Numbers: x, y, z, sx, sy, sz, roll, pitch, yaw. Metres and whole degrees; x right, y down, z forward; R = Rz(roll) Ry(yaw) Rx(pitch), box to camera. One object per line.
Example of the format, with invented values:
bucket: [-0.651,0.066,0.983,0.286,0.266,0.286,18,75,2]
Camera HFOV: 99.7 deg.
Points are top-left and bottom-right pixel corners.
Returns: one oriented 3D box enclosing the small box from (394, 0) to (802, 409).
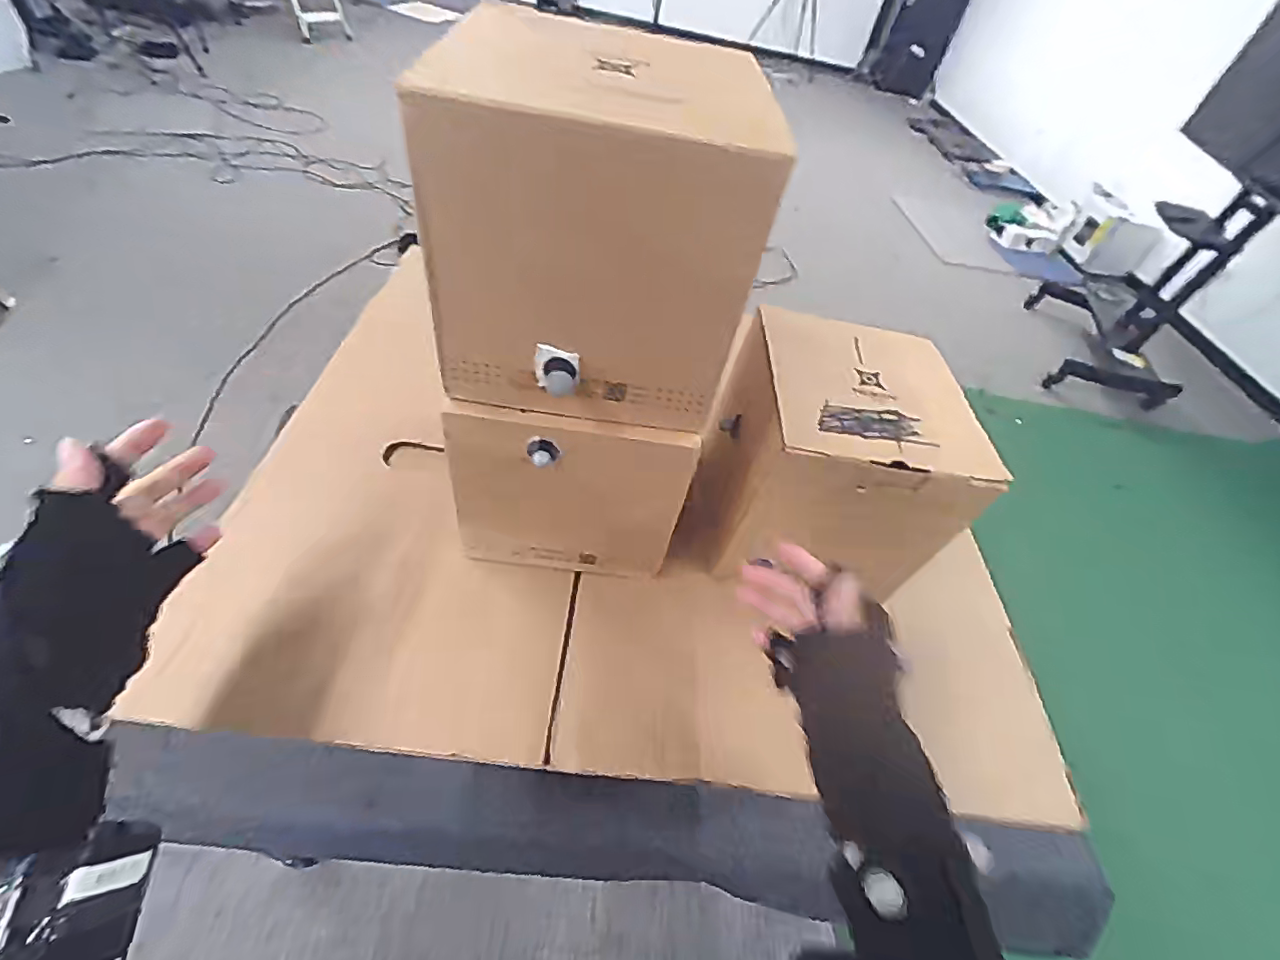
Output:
small box: [-0.025,-0.169,0.325,0.168,0.176,0.179,6,51,-6]

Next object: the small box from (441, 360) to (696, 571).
small box: [-0.051,-0.049,0.454,0.168,0.176,0.179,7,49,-3]
